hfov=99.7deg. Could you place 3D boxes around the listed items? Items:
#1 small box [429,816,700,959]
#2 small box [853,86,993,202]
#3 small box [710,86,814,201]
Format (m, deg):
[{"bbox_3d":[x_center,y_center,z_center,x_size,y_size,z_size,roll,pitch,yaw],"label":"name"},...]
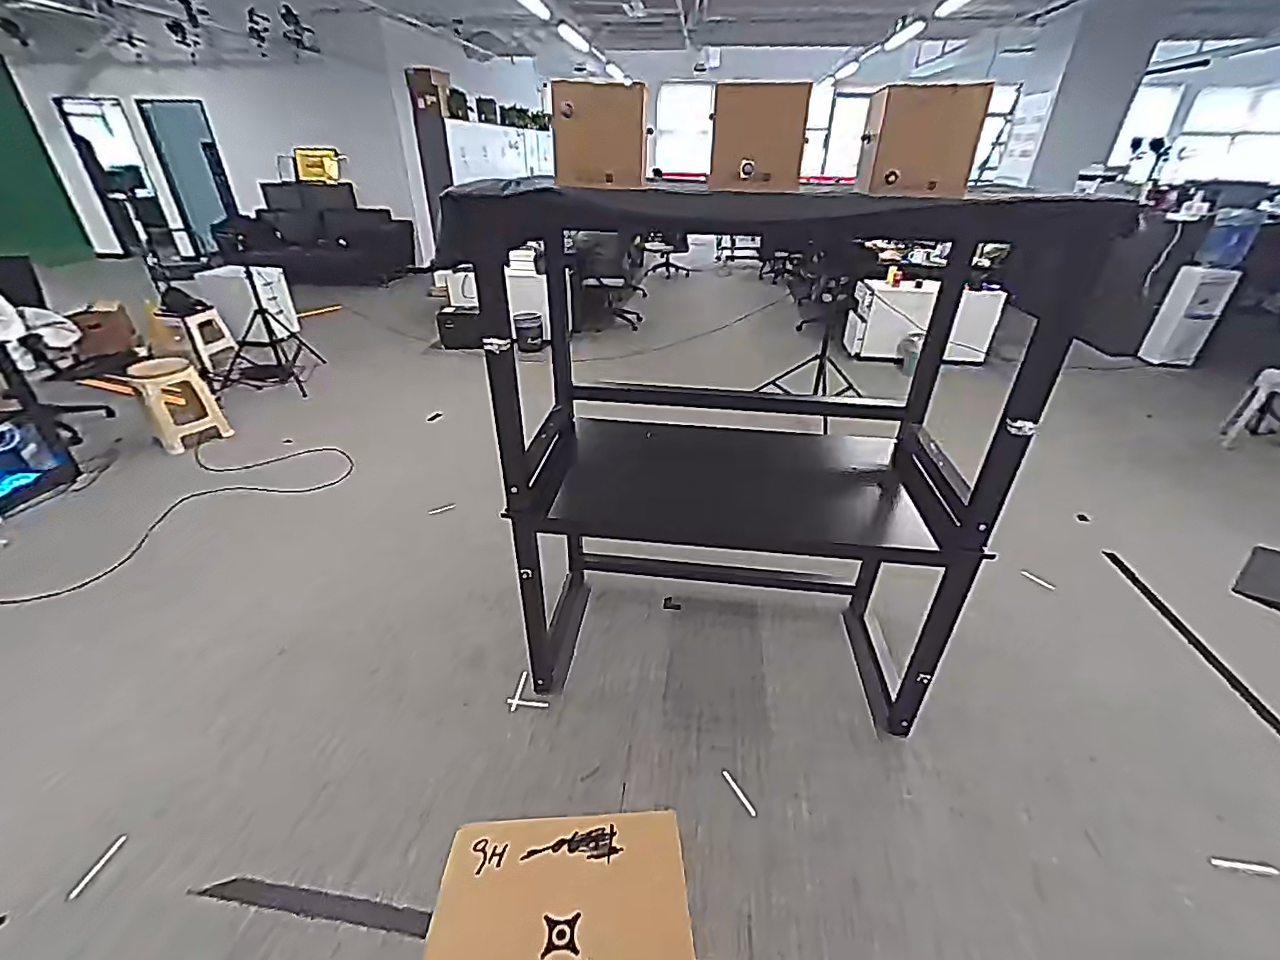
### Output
[{"bbox_3d":[-0.044,0.362,0.353,0.168,0.176,0.179,-1,22,-3],"label":"small box"},{"bbox_3d":[0.504,-0.609,0.992,0.168,0.176,0.179,5,30,7],"label":"small box"},{"bbox_3d":[0.222,-0.626,1.015,0.168,0.176,0.179,5,30,8],"label":"small box"}]
